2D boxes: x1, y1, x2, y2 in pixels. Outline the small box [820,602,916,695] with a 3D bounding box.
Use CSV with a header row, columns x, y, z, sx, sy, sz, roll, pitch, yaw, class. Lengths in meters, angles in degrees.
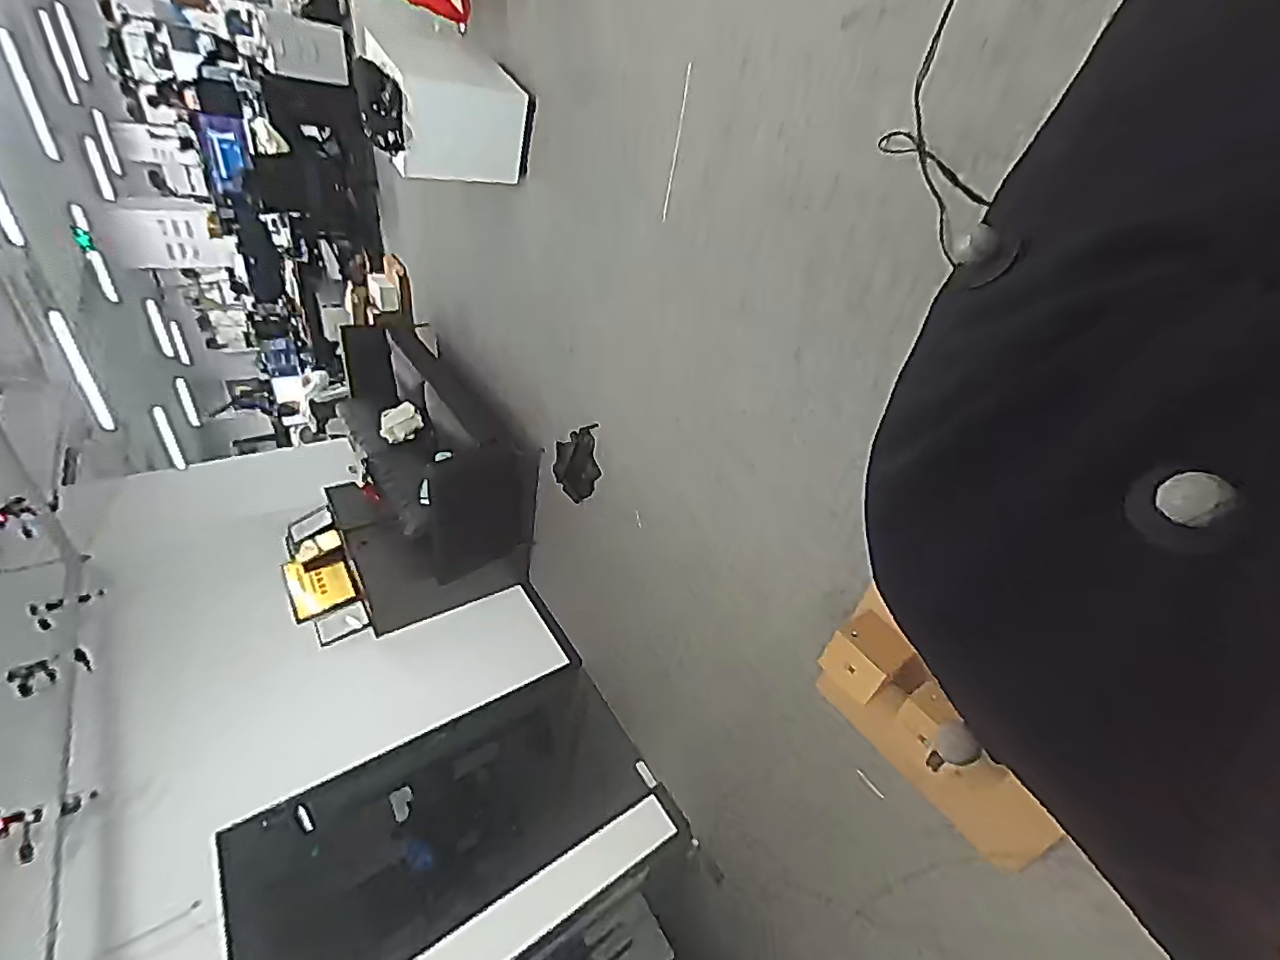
x,y,z,sx,sy,sz,roll,pitch,yaw,class
0.681,0.496,1.612,0.179,0.176,0.168,45,138,37,small box
